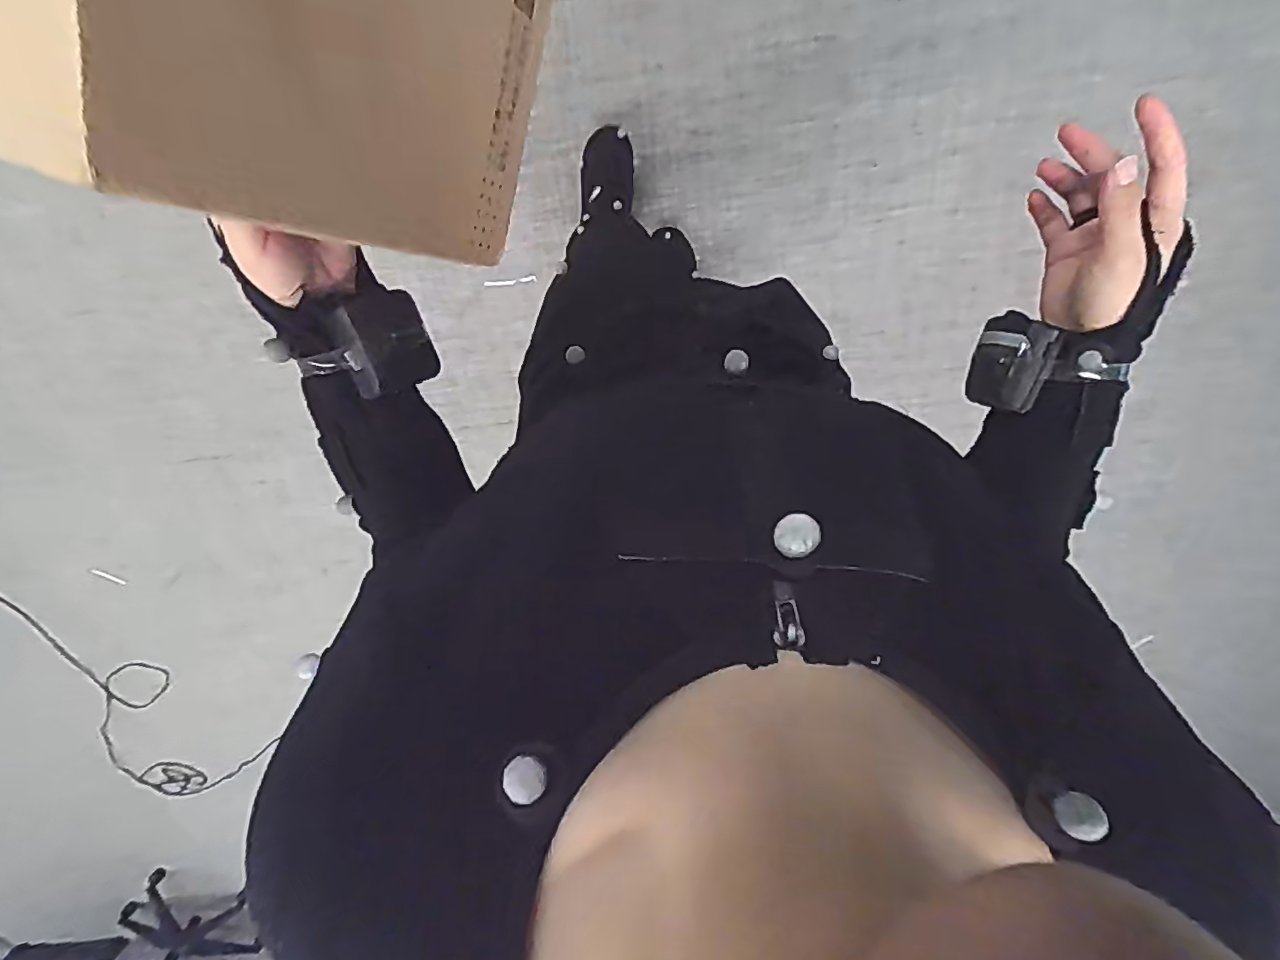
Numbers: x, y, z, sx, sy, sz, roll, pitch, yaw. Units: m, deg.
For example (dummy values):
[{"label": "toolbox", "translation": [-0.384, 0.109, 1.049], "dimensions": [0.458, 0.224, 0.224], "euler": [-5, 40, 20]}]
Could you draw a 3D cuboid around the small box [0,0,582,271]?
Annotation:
[{"label": "small box", "translation": [-0.139, -0.181, 0.187], "dimensions": [0.179, 0.176, 0.168], "euler": [21, 111, 10]}]
